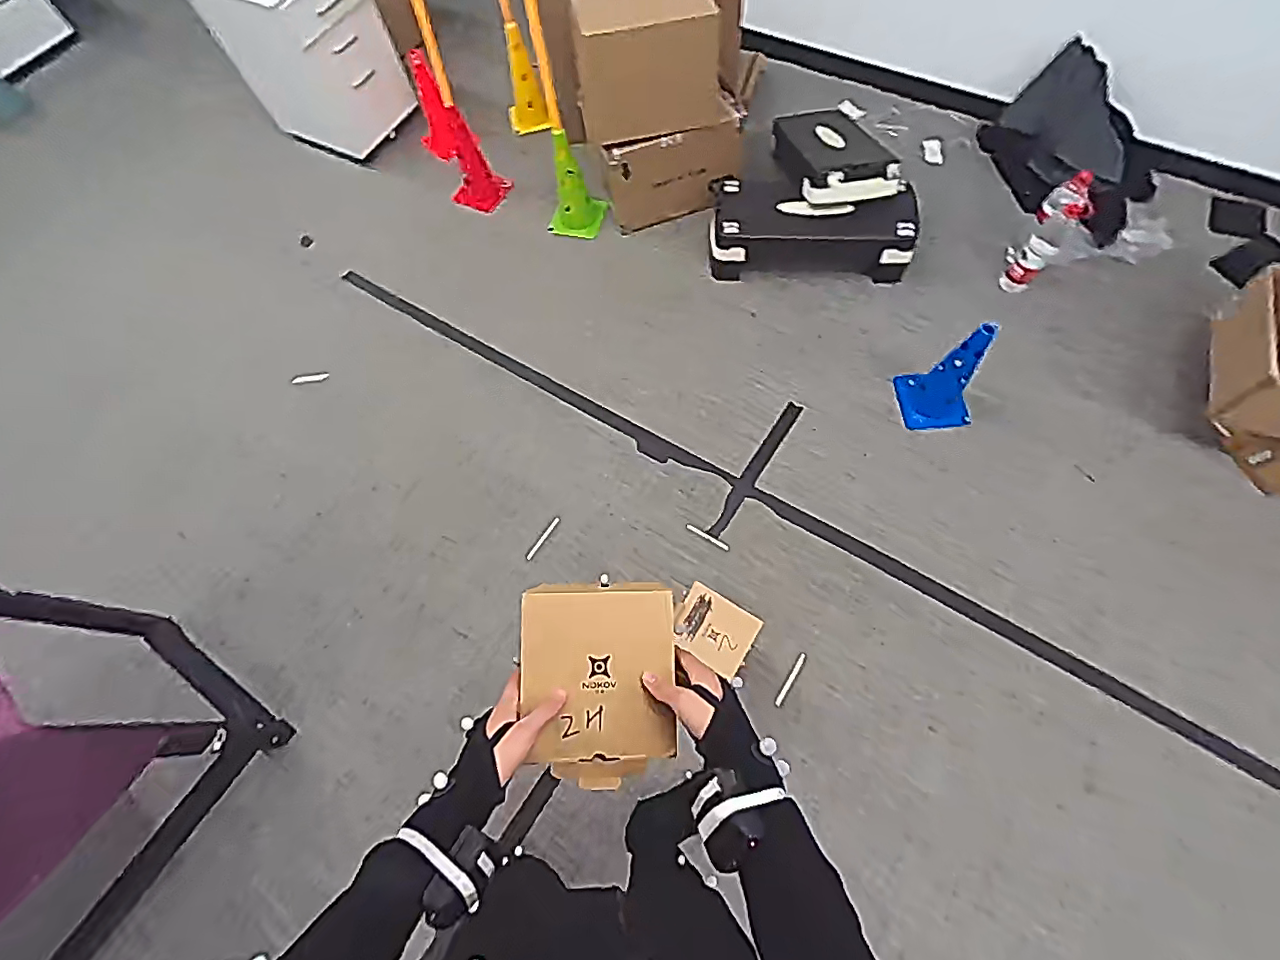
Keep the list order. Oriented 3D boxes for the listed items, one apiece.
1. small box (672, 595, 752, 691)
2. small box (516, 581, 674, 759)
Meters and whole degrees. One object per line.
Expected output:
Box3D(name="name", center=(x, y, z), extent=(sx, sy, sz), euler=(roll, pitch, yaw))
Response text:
Box3D(name="small box", center=(0.173, 0.427, 1.396), extent=(0.168, 0.176, 0.179), euler=(27, 72, 15))
Box3D(name="small box", center=(-0.051, 0.212, 0.649), extent=(0.168, 0.176, 0.179), euler=(-1, 82, -3))
